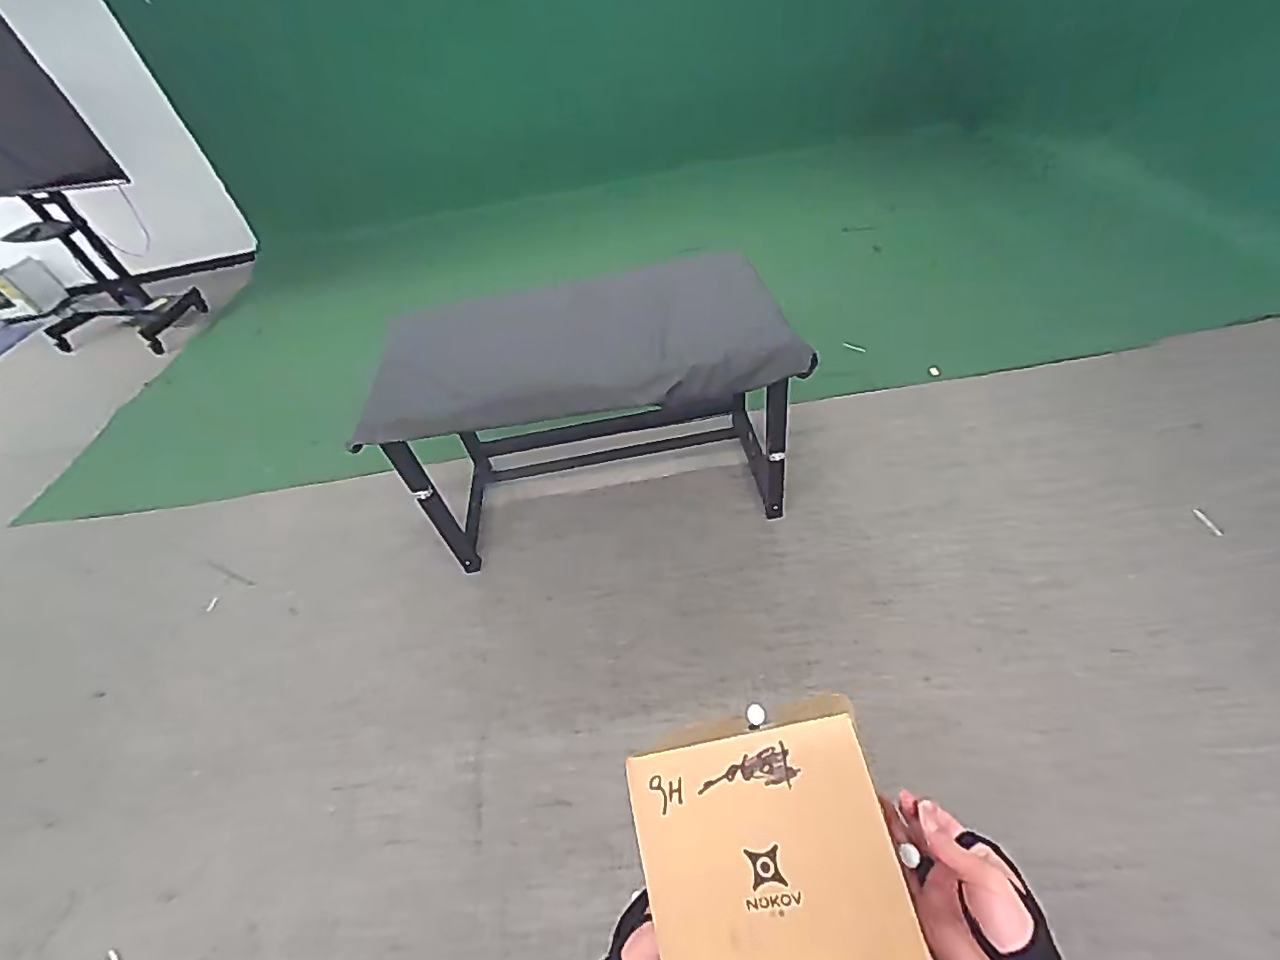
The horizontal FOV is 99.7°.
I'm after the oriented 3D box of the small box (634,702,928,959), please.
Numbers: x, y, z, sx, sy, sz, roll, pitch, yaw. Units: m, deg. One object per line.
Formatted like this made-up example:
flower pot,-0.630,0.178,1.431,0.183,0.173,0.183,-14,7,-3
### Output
small box,0.112,0.290,0.428,0.168,0.176,0.179,-18,69,13
